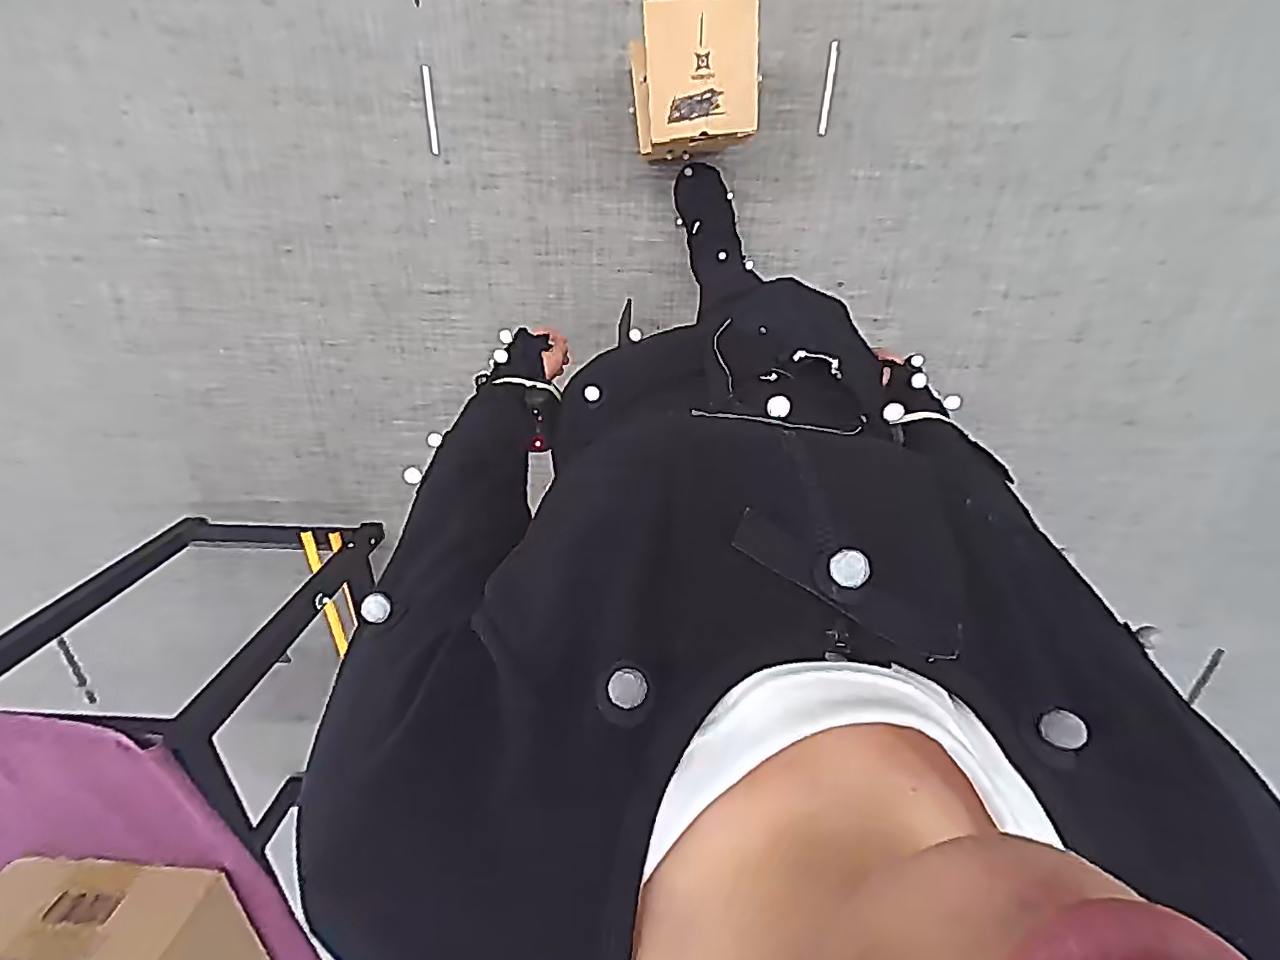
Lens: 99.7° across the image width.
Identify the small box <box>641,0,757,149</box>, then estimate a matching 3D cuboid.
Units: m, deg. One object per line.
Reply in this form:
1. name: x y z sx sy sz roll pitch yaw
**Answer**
1. small box: 0.091 -0.642 0.867 0.168 0.176 0.179 -3 116 3
